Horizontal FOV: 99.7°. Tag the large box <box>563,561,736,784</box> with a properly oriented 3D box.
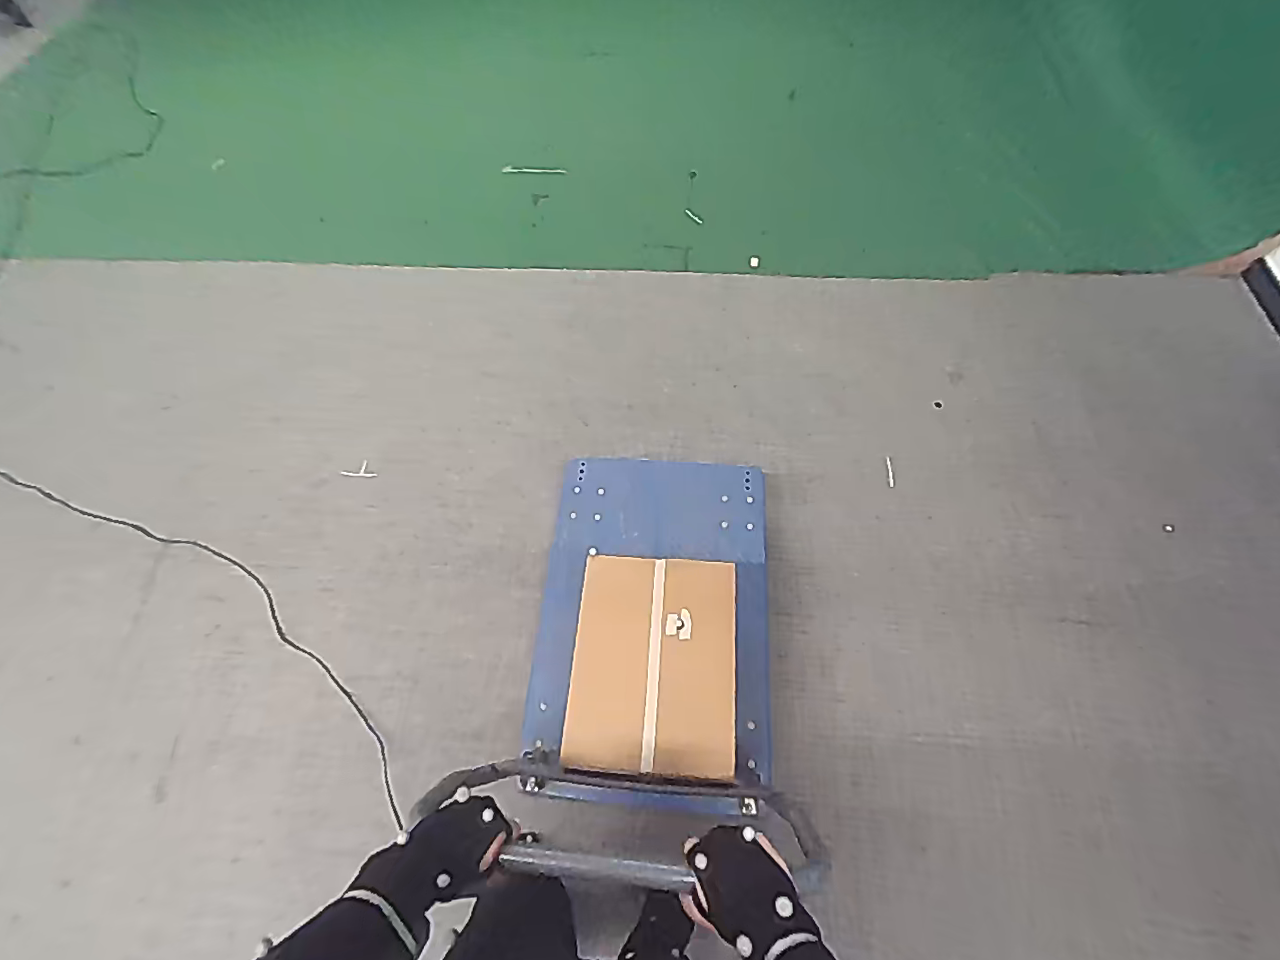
[{"bbox_3d":[0.035,0.423,1.174,0.320,0.320,0.408,3,61,4],"label":"large box"}]
